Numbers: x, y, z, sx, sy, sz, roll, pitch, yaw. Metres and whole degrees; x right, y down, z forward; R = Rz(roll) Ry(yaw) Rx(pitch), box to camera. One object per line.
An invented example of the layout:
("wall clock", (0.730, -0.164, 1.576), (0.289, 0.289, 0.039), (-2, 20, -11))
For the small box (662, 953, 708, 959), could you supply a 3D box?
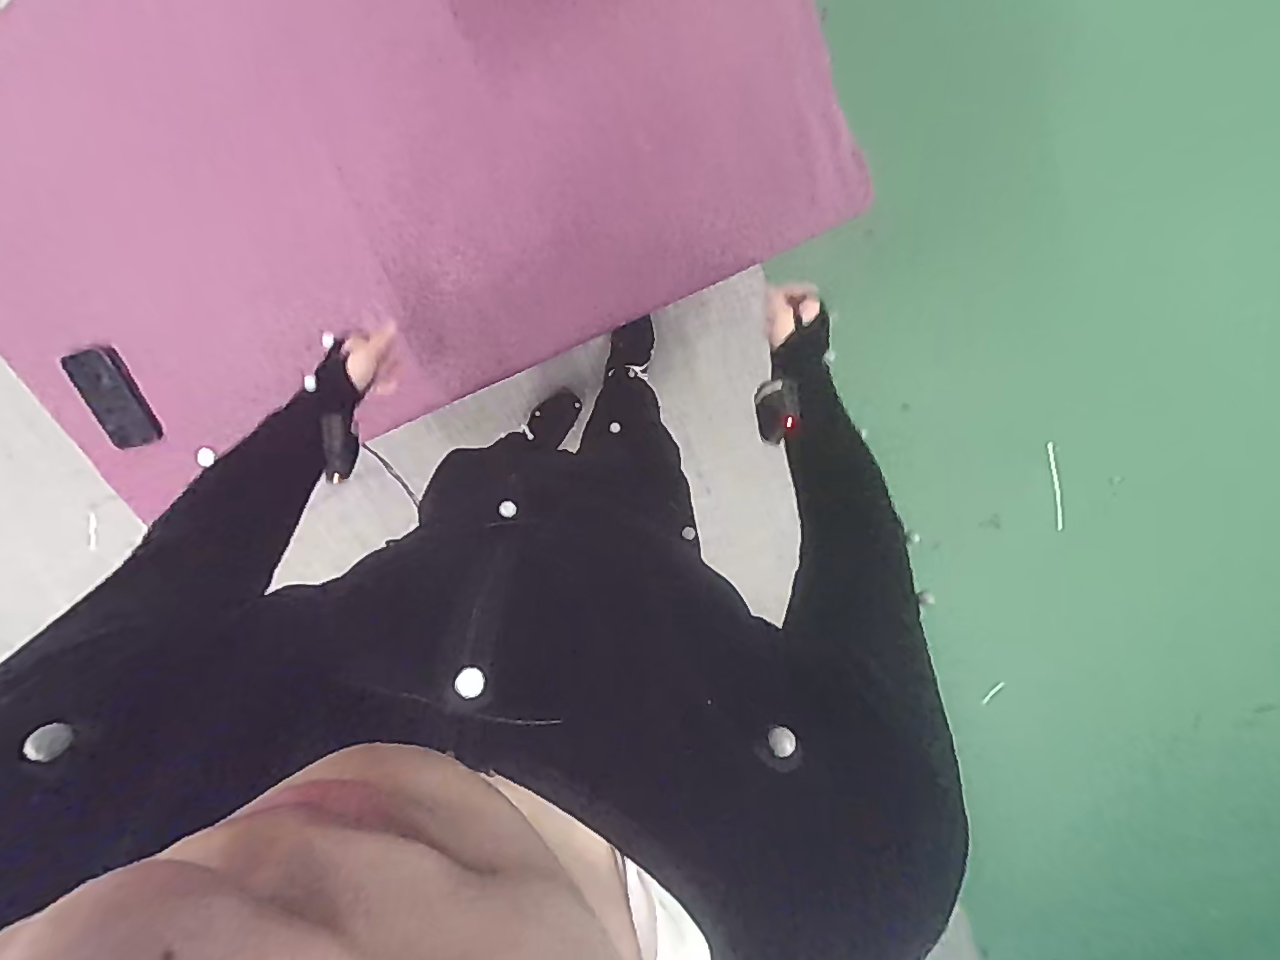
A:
("small box", (0.164, 1.716, 1.783), (0.168, 0.176, 0.179), (-15, 109, 6))
